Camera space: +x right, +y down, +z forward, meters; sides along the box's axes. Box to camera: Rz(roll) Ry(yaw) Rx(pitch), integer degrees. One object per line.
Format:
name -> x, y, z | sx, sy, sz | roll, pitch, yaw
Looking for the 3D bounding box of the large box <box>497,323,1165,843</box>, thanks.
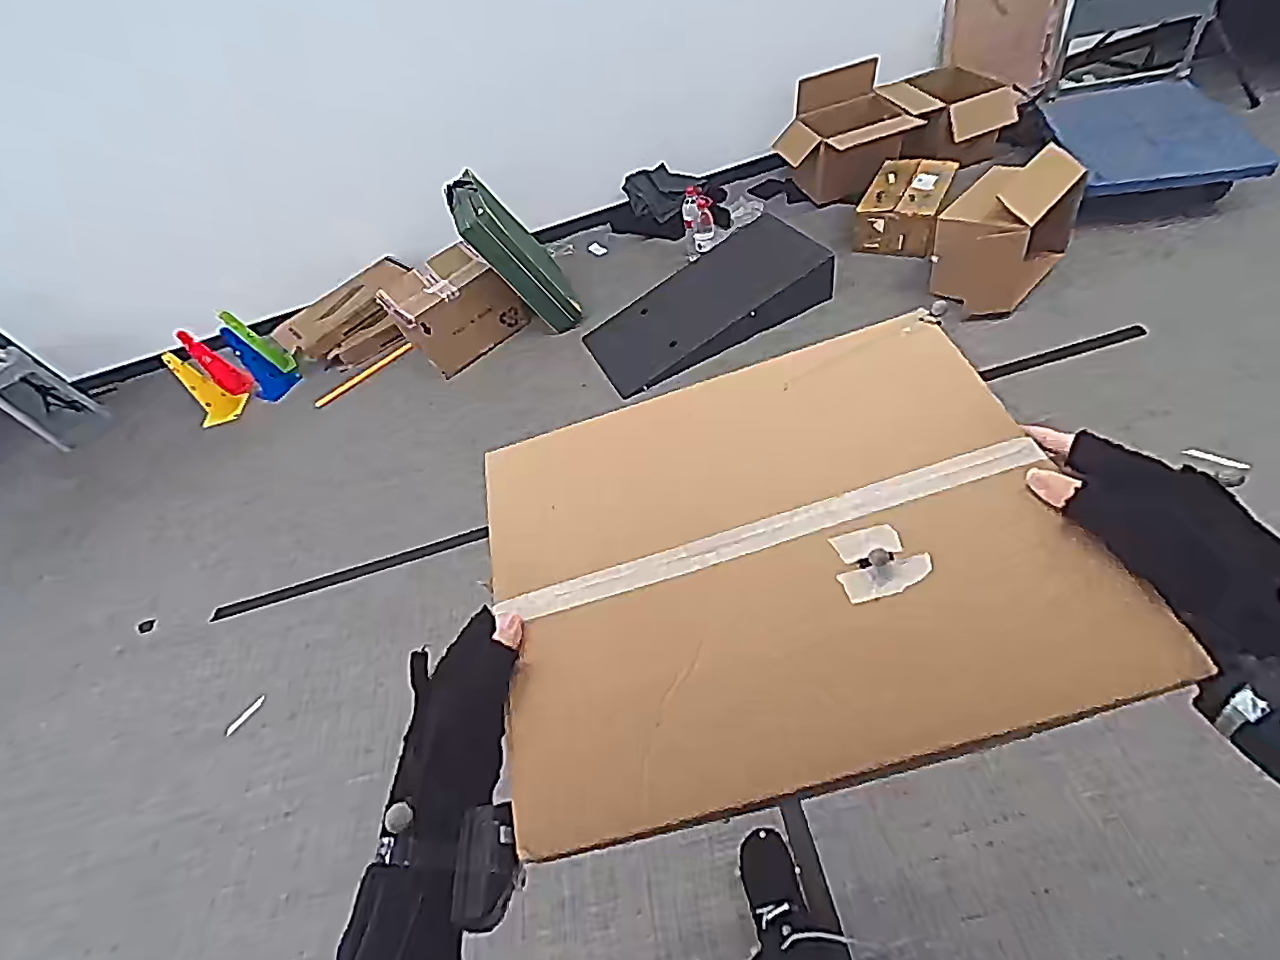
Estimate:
large box -> 0.120, 0.119, 0.532 | 0.408, 0.320, 0.320 | -18, 57, 3
